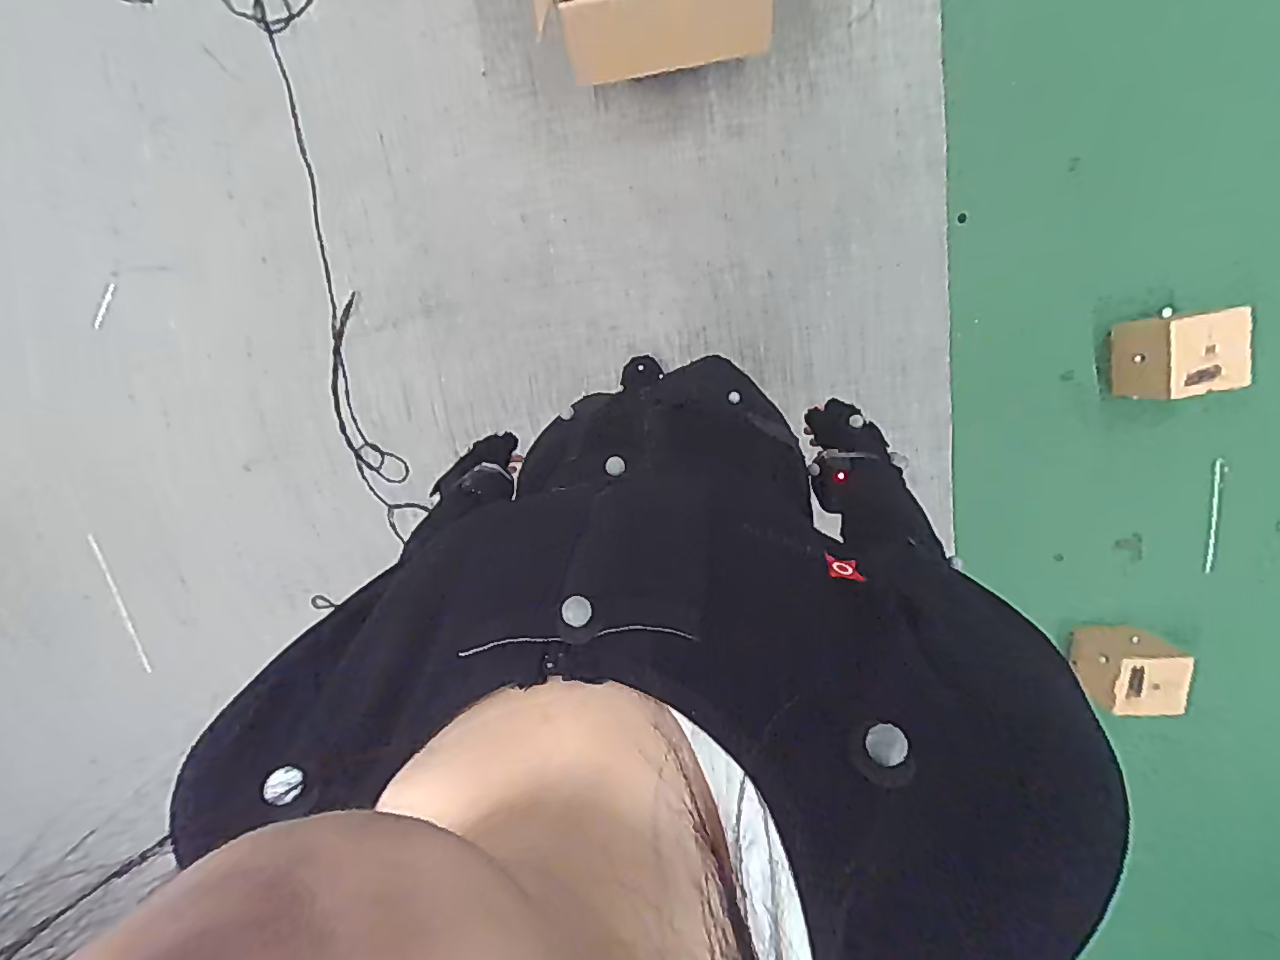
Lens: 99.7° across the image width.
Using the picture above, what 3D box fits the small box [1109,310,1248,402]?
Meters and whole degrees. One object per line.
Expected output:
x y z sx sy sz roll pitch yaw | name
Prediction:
1.246 -0.289 1.264 0.168 0.176 0.179 -11 101 6 | small box
